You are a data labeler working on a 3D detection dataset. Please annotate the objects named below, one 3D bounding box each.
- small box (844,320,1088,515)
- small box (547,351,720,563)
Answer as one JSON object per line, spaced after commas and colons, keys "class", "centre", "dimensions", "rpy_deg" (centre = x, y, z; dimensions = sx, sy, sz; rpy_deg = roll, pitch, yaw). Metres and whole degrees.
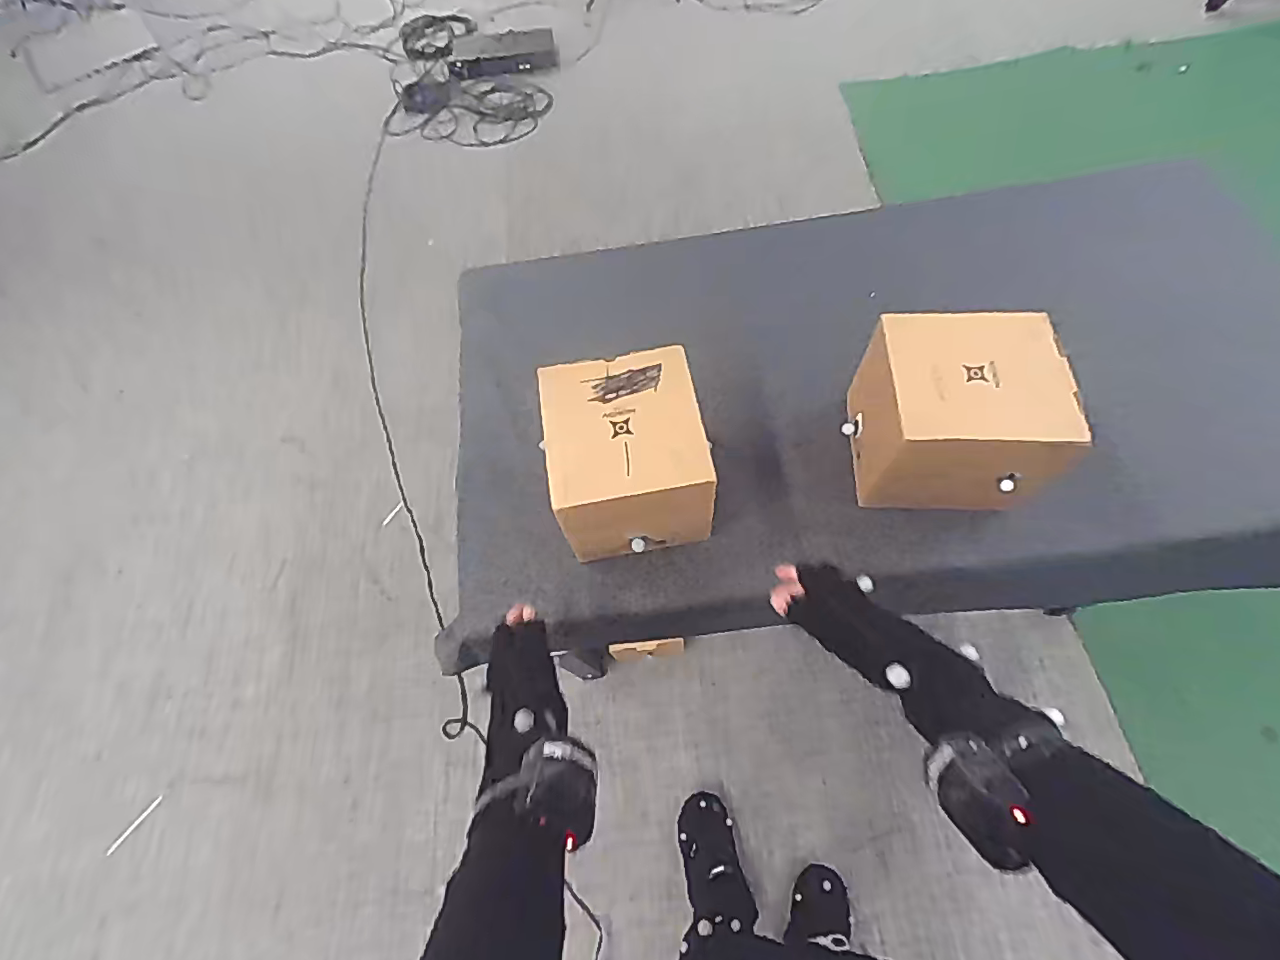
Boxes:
{"class": "small box", "centre": [0.358, -0.067, 0.636], "dimensions": [0.179, 0.176, 0.168], "rpy_deg": [0, 62, 5]}
{"class": "small box", "centre": [-0.009, -0.021, 0.638], "dimensions": [0.168, 0.176, 0.179], "rpy_deg": [-10, 63, -1]}
